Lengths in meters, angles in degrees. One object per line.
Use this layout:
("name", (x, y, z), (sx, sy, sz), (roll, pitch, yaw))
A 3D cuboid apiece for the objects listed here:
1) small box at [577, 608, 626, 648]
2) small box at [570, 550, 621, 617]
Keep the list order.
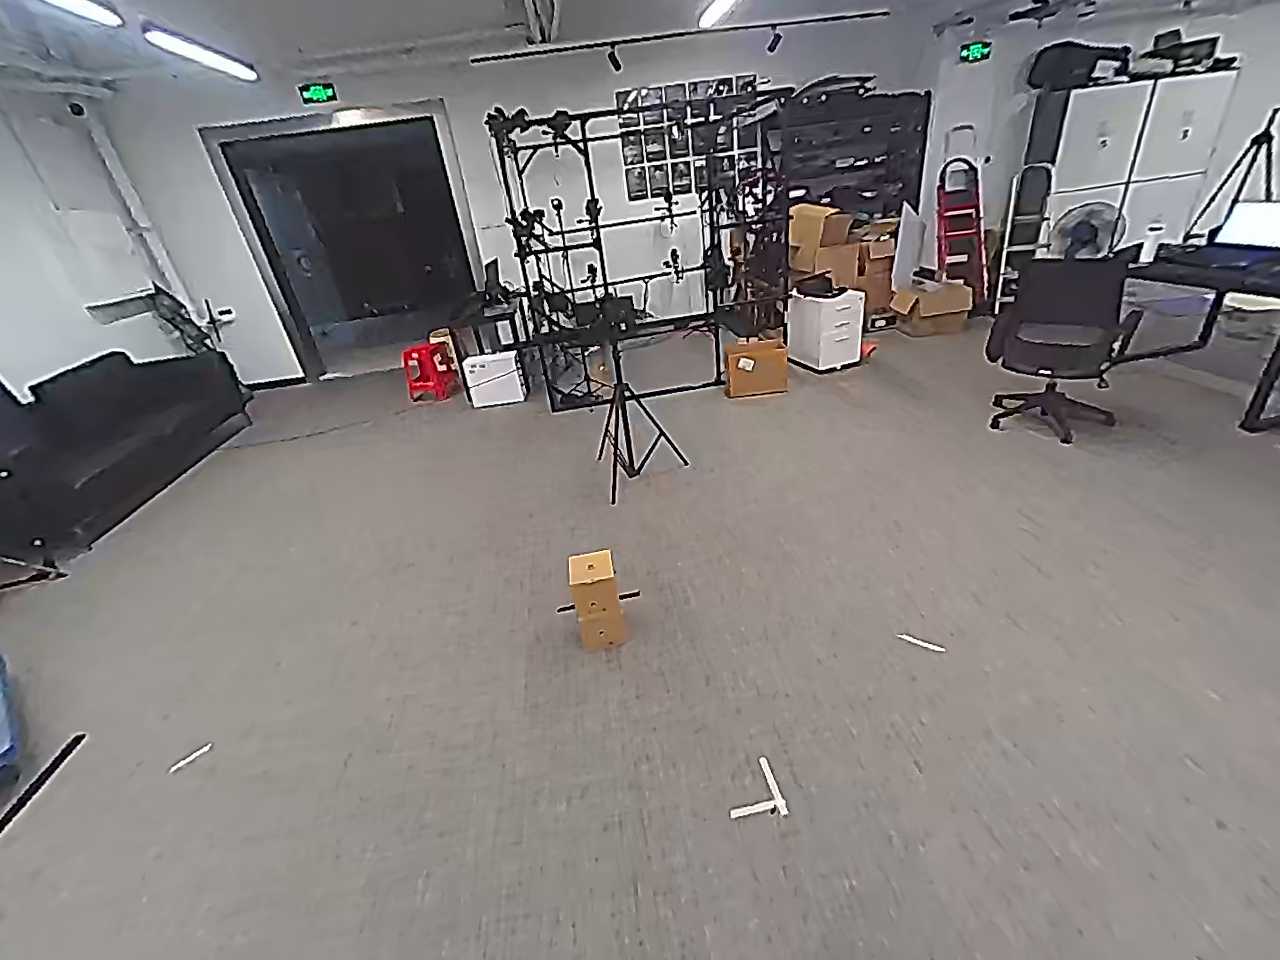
("small box", (-0.154, 0.543, 2.136), (0.168, 0.176, 0.179), (-11, 28, -6))
("small box", (-0.172, 0.396, 2.067), (0.168, 0.176, 0.179), (-10, 29, -4))
